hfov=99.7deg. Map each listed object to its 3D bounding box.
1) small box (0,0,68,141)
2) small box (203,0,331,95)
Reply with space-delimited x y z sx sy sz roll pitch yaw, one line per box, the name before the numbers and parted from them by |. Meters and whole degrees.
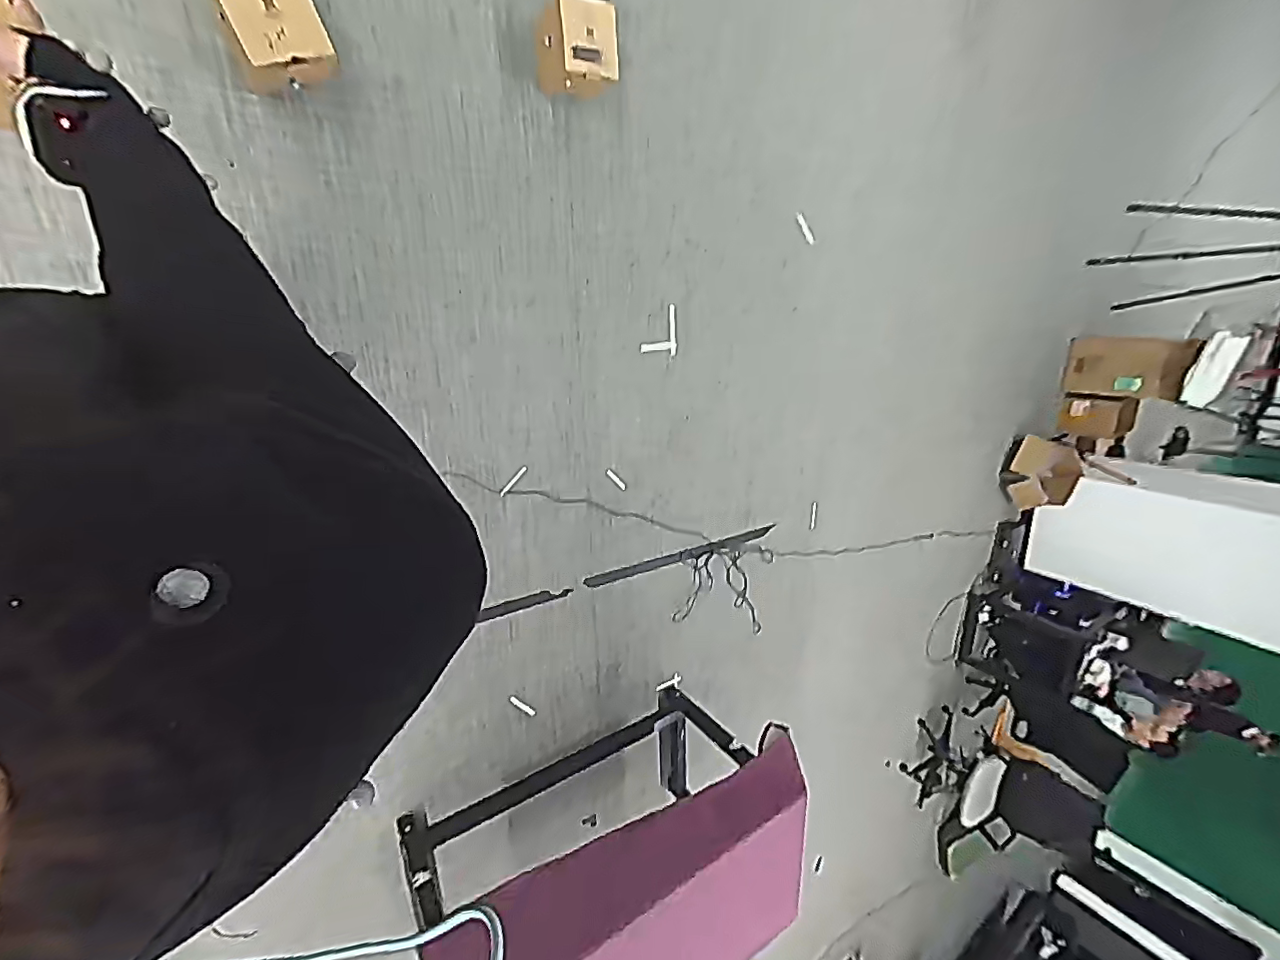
small box | -0.643 -0.418 0.471 0.168 0.176 0.179 -15 130 -36
small box | -0.781 -0.945 1.129 0.168 0.176 0.179 -32 119 -24
